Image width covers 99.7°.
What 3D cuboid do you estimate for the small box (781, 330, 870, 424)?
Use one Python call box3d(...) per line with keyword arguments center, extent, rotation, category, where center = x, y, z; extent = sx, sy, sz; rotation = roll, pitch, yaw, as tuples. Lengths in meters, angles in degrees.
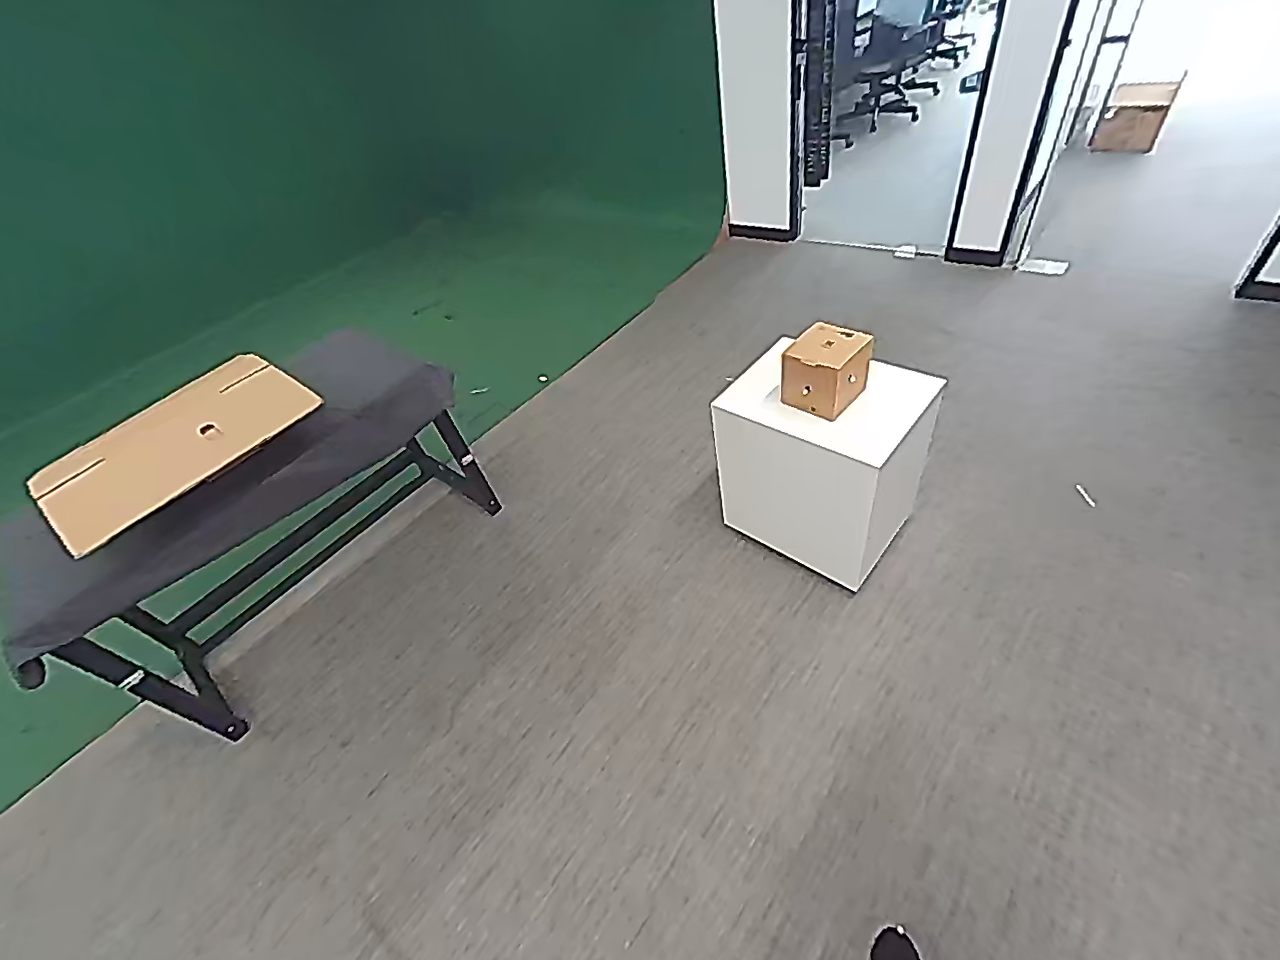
box3d(center=(0.502, -0.279, 1.469), extent=(0.168, 0.176, 0.179), rotation=(27, 57, 35), category="small box")
